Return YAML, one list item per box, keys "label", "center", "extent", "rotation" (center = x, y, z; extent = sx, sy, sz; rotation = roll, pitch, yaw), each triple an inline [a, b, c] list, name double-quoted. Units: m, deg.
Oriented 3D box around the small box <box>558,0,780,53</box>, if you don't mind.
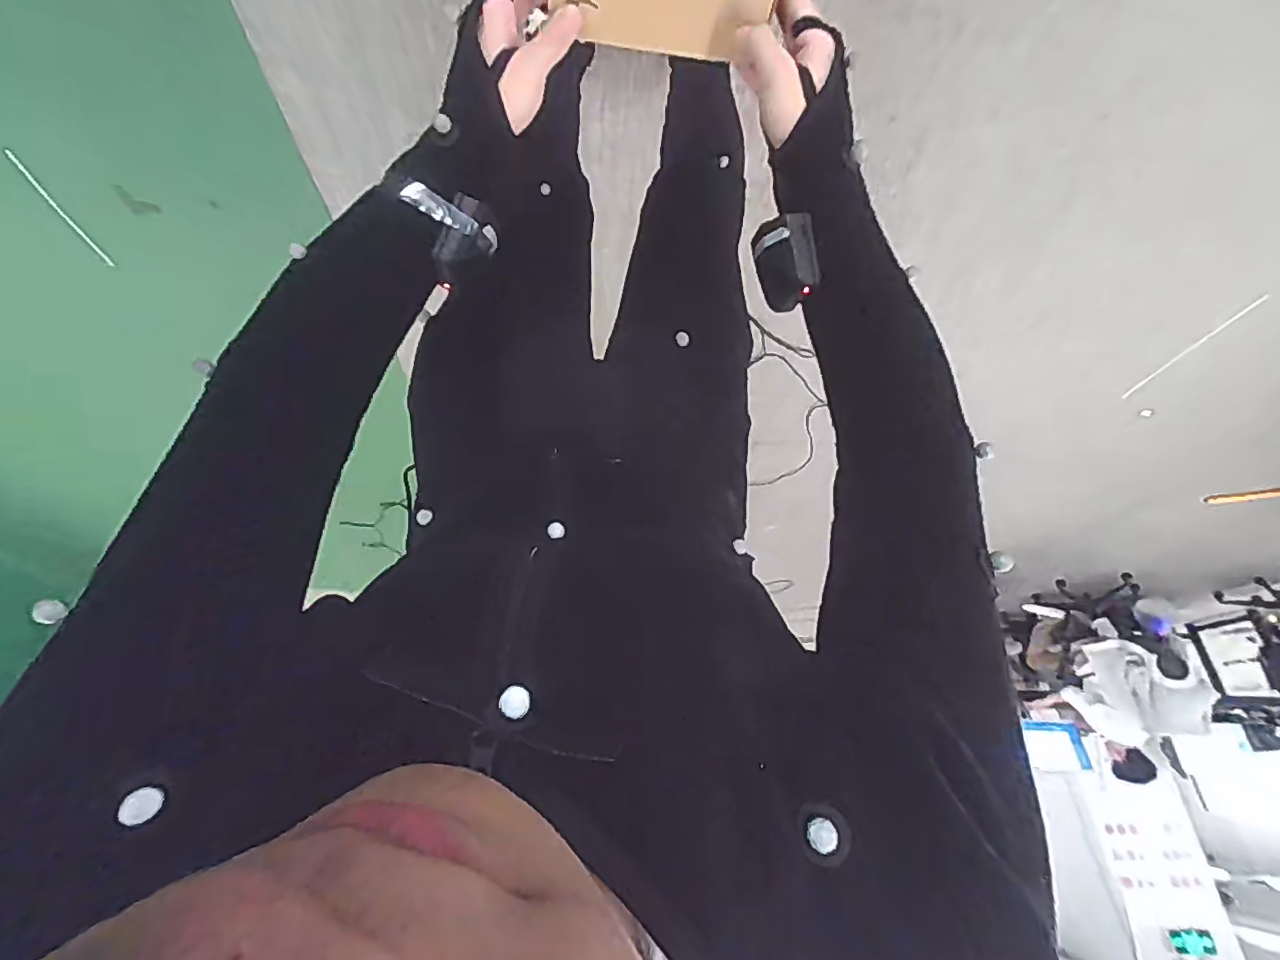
- label: "small box"
  center: [0.029, -0.471, 0.411]
  extent: [0.179, 0.176, 0.168]
  rotation: [3, 153, -5]
